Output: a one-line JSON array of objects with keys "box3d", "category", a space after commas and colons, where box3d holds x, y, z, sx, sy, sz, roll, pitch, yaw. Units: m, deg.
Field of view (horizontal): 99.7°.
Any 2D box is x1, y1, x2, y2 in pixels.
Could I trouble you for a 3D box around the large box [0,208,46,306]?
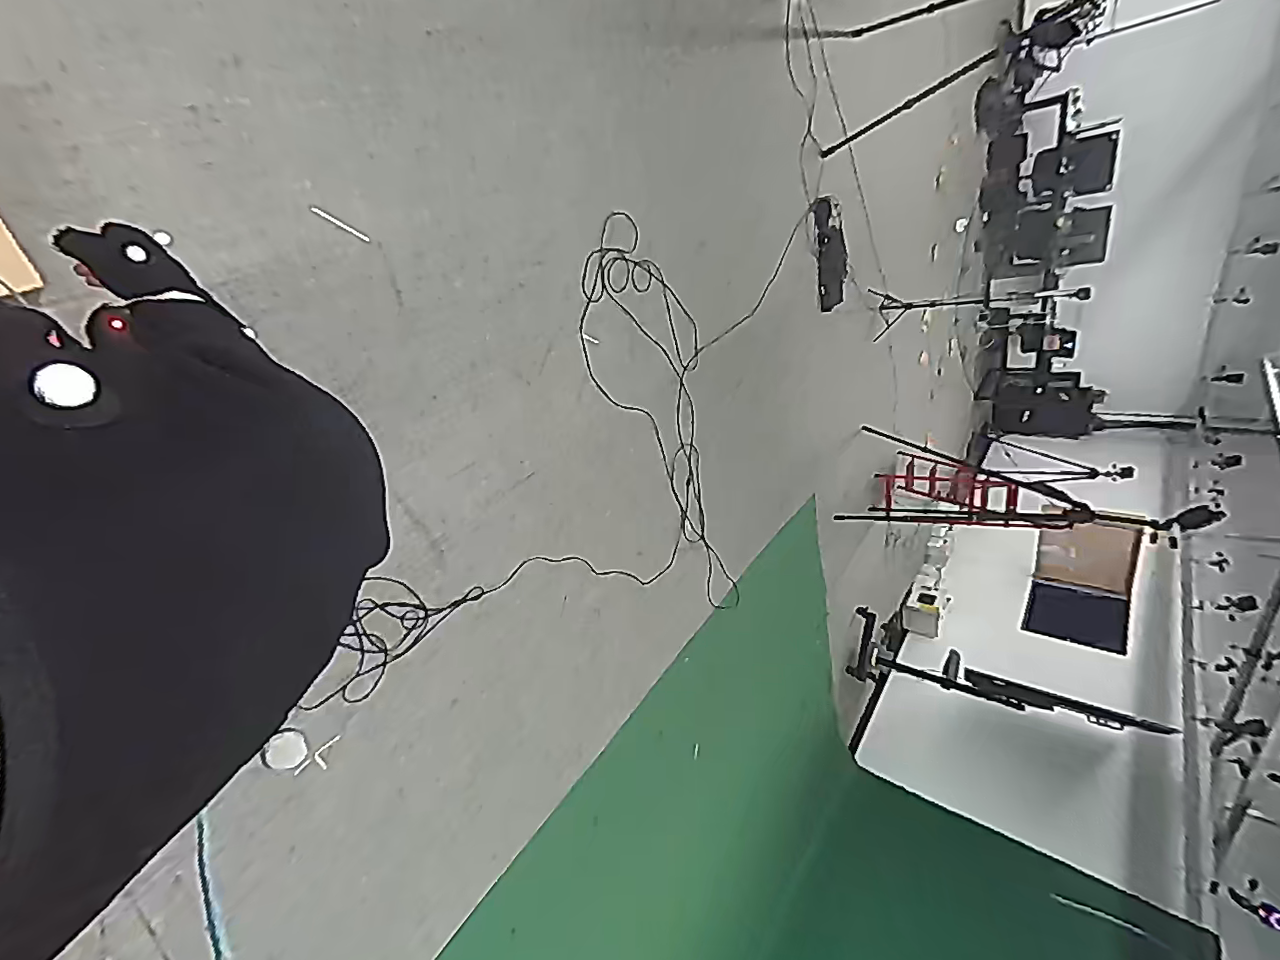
[{"box3d": [-1.152, -0.353, 0.713, 0.408, 0.320, 0.320, -38, 125, -38], "category": "large box"}]
